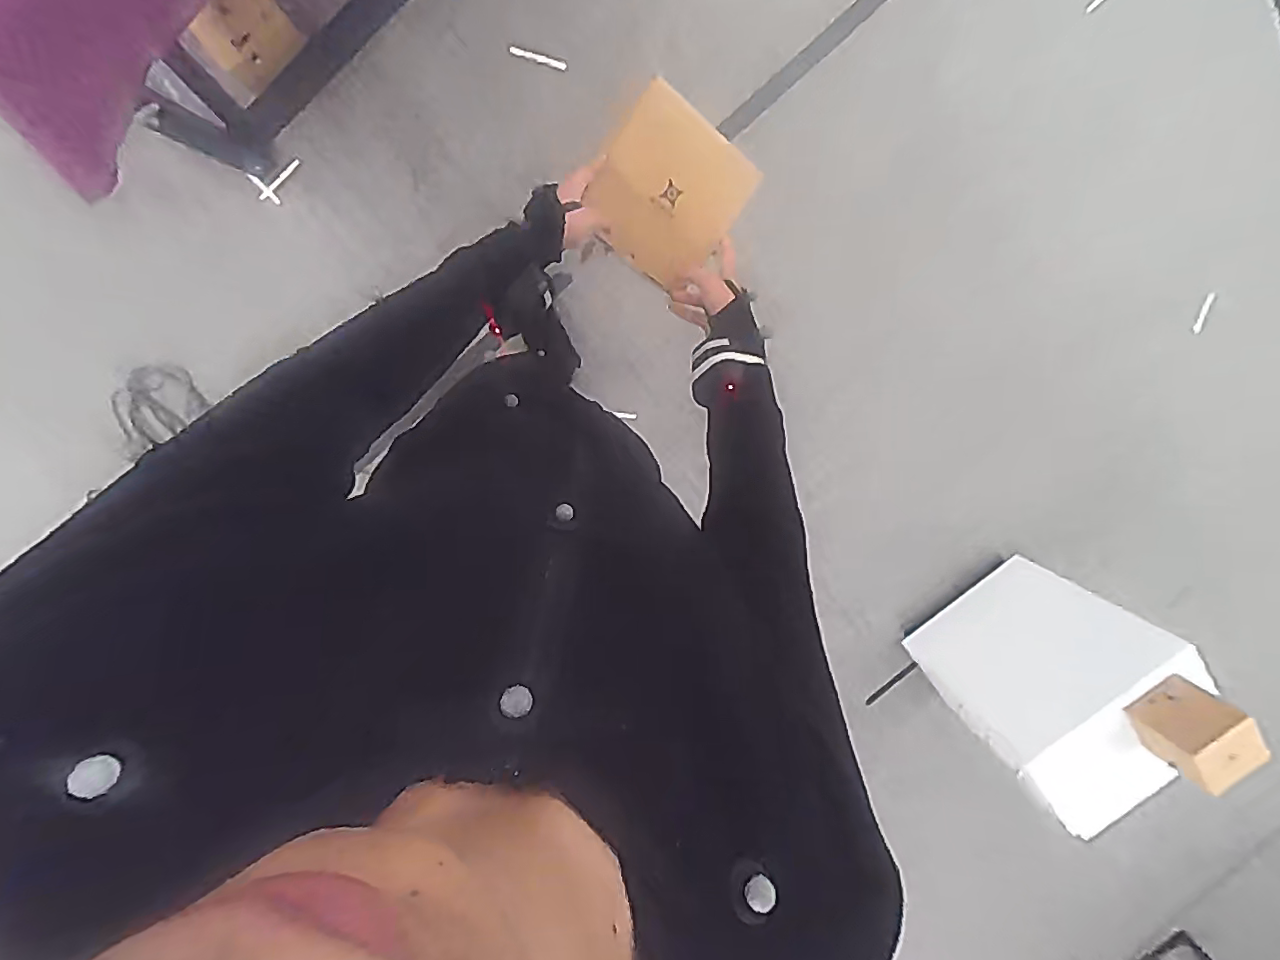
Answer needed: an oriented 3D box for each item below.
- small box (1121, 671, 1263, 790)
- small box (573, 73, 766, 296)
[{"bbox_3d":[1.369,0.617,1.349,0.168,0.176,0.179,-39,109,3],"label":"small box"},{"bbox_3d":[0.025,-0.375,0.705,0.168,0.176,0.179,29,109,-24],"label":"small box"}]
